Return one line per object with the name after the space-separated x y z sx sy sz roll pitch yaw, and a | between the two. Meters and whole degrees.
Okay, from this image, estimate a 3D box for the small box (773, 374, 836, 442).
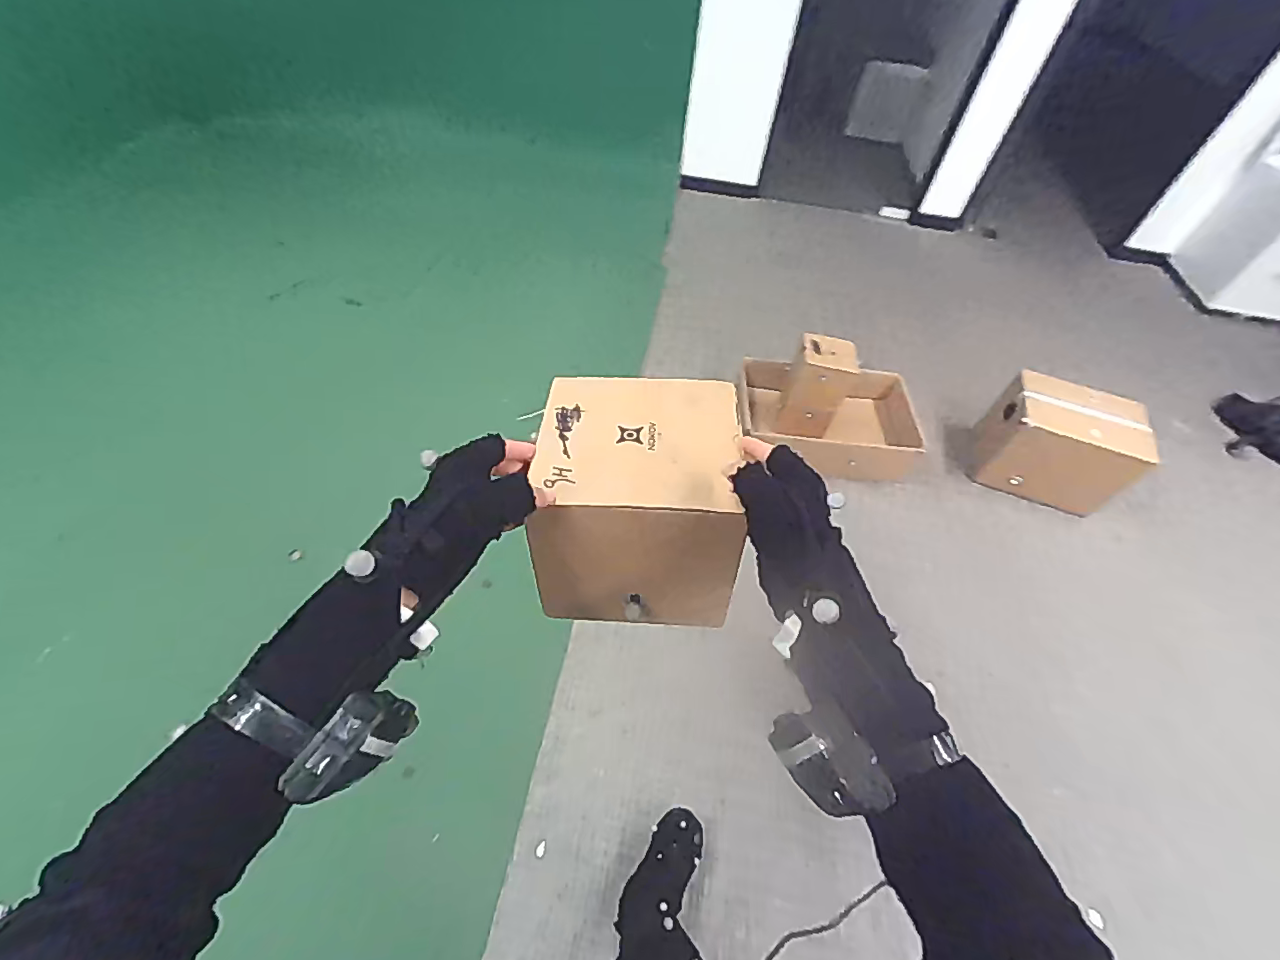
0.597 -0.259 1.980 0.179 0.176 0.168 13 52 0 | small box

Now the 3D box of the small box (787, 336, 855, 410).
0.612 -0.362 1.853 0.179 0.176 0.168 12 52 0 | small box

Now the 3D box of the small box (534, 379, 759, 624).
0.007 0.023 0.524 0.179 0.176 0.168 4 44 1 | small box
